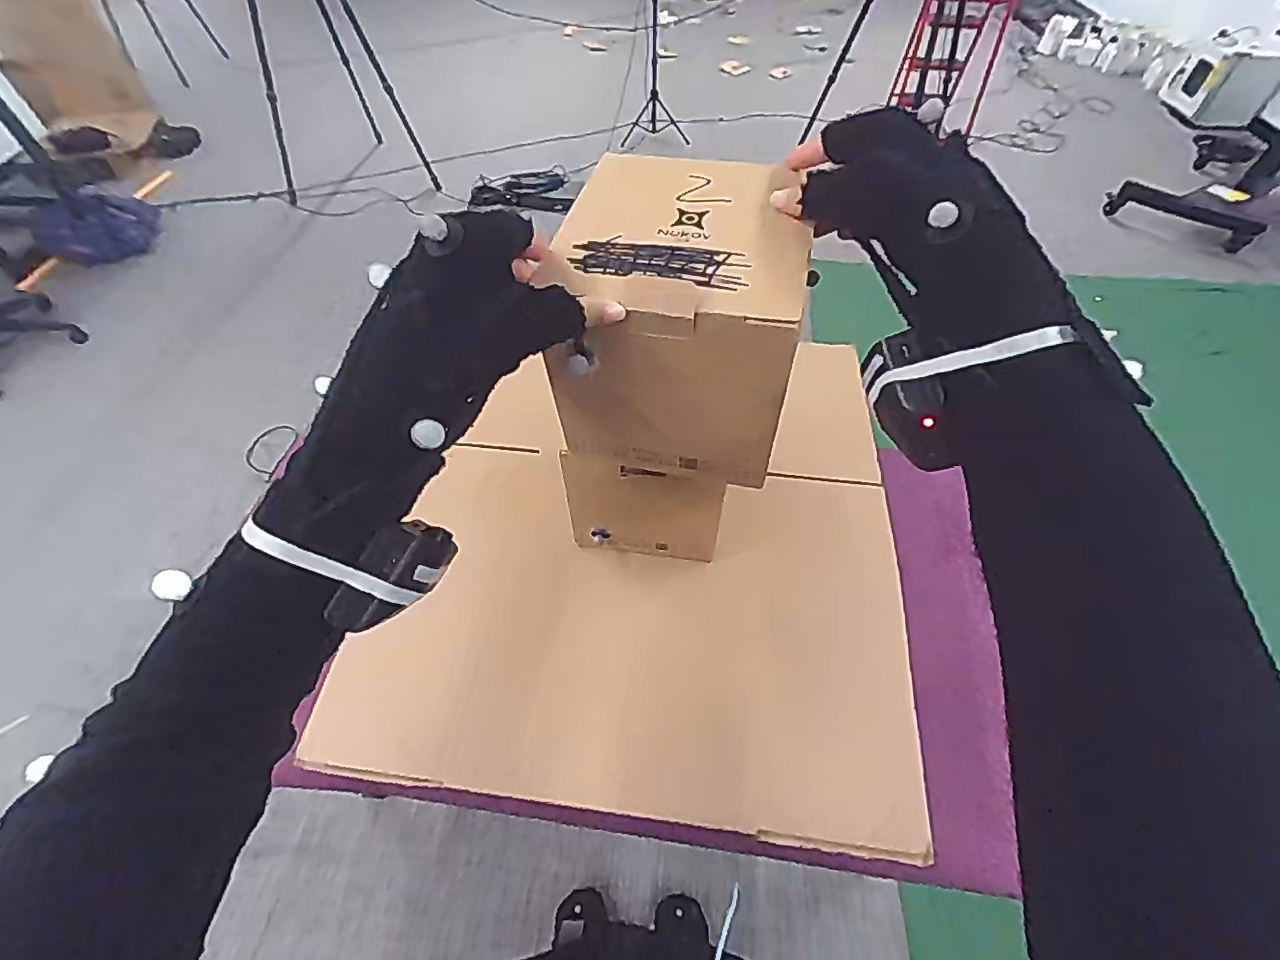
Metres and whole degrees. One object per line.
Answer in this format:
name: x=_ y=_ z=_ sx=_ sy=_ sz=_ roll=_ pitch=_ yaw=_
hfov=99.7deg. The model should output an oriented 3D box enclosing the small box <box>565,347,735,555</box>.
small box: x=0.018 y=-0.029 z=0.623 sx=0.168 sy=0.176 sz=0.179 roll=4 pitch=53 yaw=3
